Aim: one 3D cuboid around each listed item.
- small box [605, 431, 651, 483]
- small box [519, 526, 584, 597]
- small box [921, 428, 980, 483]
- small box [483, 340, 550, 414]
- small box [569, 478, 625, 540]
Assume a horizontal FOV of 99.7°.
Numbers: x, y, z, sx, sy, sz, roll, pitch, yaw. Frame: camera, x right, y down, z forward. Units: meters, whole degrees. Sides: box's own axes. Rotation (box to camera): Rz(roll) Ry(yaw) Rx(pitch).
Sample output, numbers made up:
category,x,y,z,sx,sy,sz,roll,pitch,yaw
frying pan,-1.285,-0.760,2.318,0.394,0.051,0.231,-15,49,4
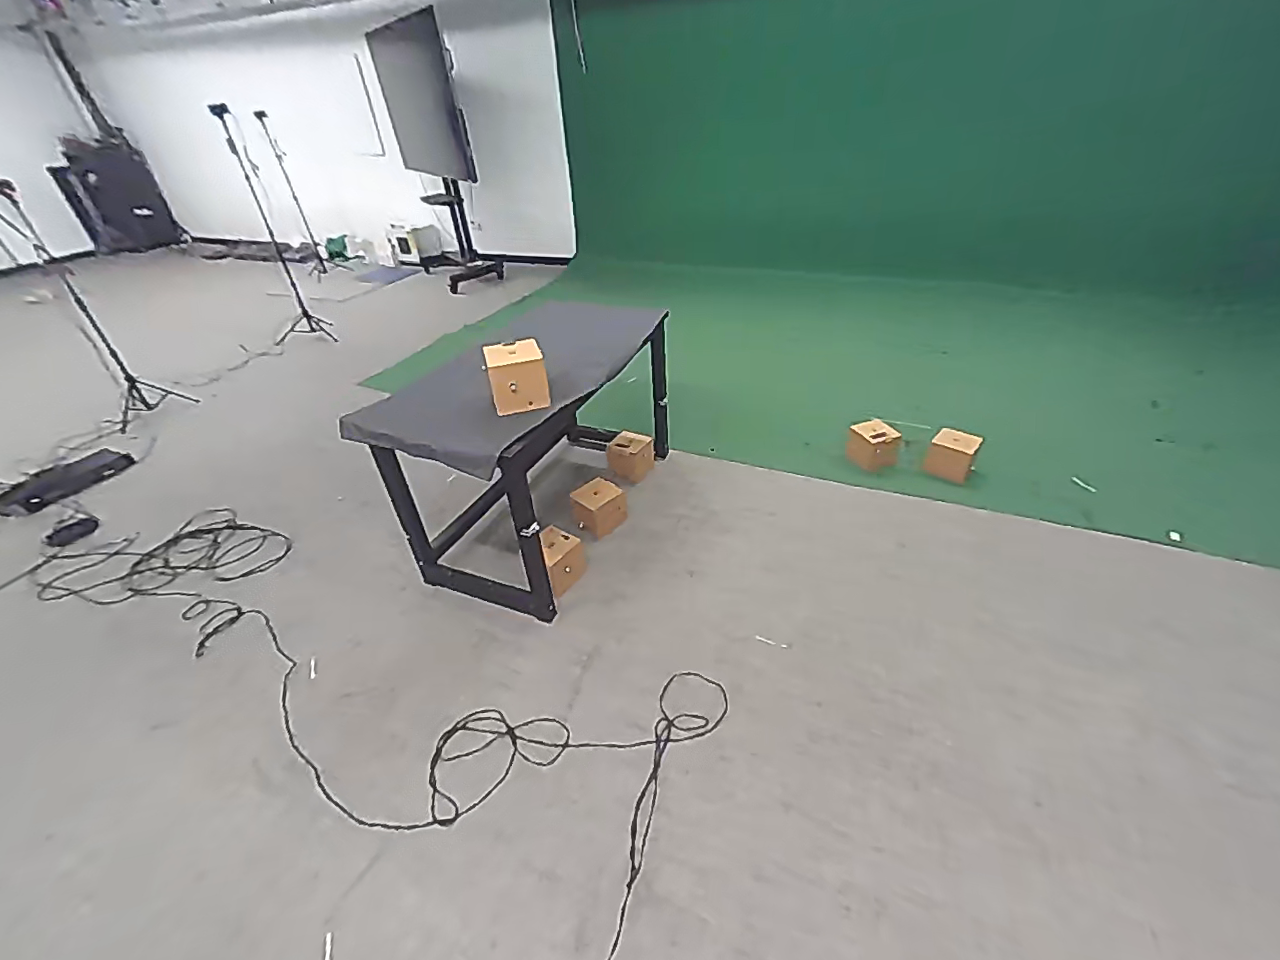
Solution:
category,x,y,z,sx,sy,sz,roll,pitch,yaw
small box,-0.051,-0.109,2.621,0.168,0.176,0.179,16,40,25
small box,-0.331,0.315,2.067,0.168,0.176,0.179,21,44,30
small box,1.426,-0.112,2.490,0.179,0.176,0.168,27,47,35
small box,-0.389,-0.318,1.704,0.168,0.176,0.179,-14,37,-13
small box,-0.180,0.124,2.314,0.168,0.176,0.179,27,47,36
